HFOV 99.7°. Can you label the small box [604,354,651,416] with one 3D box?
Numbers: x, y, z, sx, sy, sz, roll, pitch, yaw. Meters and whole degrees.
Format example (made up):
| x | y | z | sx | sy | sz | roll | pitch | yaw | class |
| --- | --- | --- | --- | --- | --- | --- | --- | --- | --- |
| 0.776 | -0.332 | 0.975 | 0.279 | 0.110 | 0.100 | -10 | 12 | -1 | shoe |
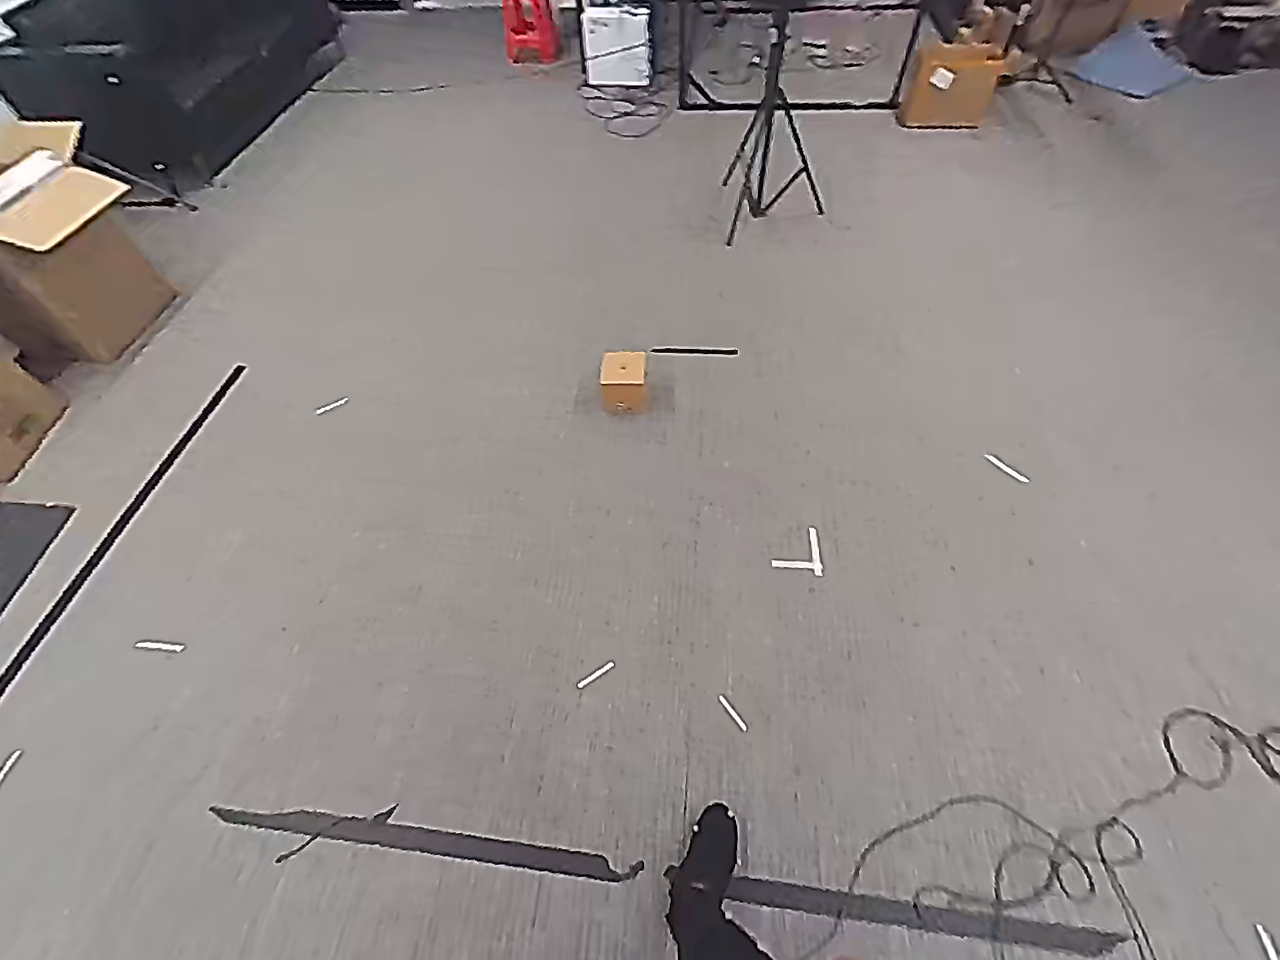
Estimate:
| x | y | z | sx | sy | sz | roll | pitch | yaw | class |
| --- | --- | --- | --- | --- | --- | --- | --- | --- | --- |
| -0.045 | -0.372 | 2.123 | 0.168 | 0.176 | 0.179 | 1 | 55 | 5 | small box |
